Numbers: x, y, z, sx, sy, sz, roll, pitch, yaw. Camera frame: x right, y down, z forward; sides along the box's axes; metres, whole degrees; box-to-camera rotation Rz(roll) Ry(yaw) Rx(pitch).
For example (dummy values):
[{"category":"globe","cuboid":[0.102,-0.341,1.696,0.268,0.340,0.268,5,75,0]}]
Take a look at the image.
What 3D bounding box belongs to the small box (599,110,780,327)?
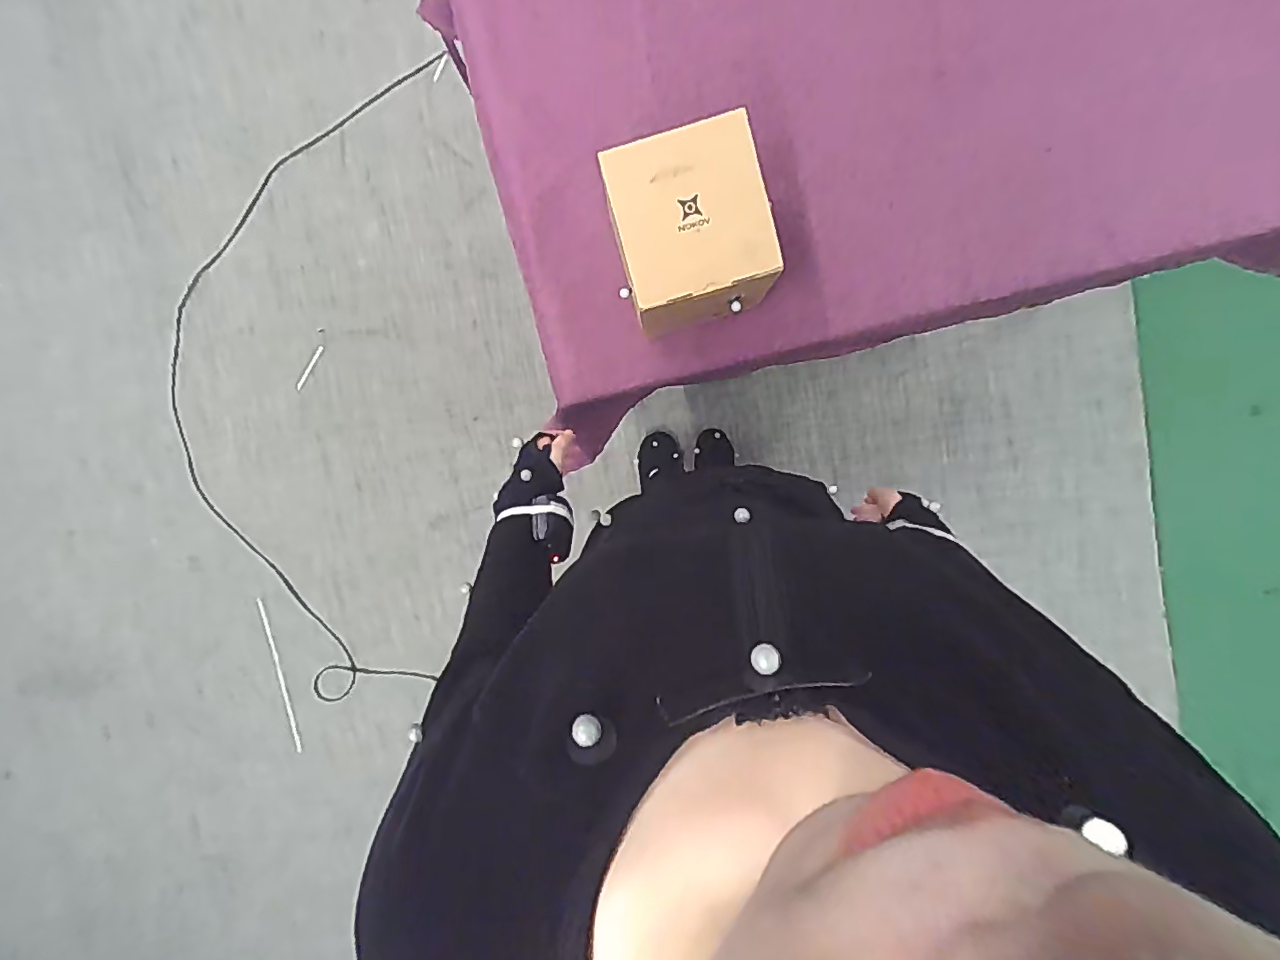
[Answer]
[{"category":"small box","cuboid":[0.057,-0.298,0.664,0.168,0.176,0.179,-15,94,2]}]
